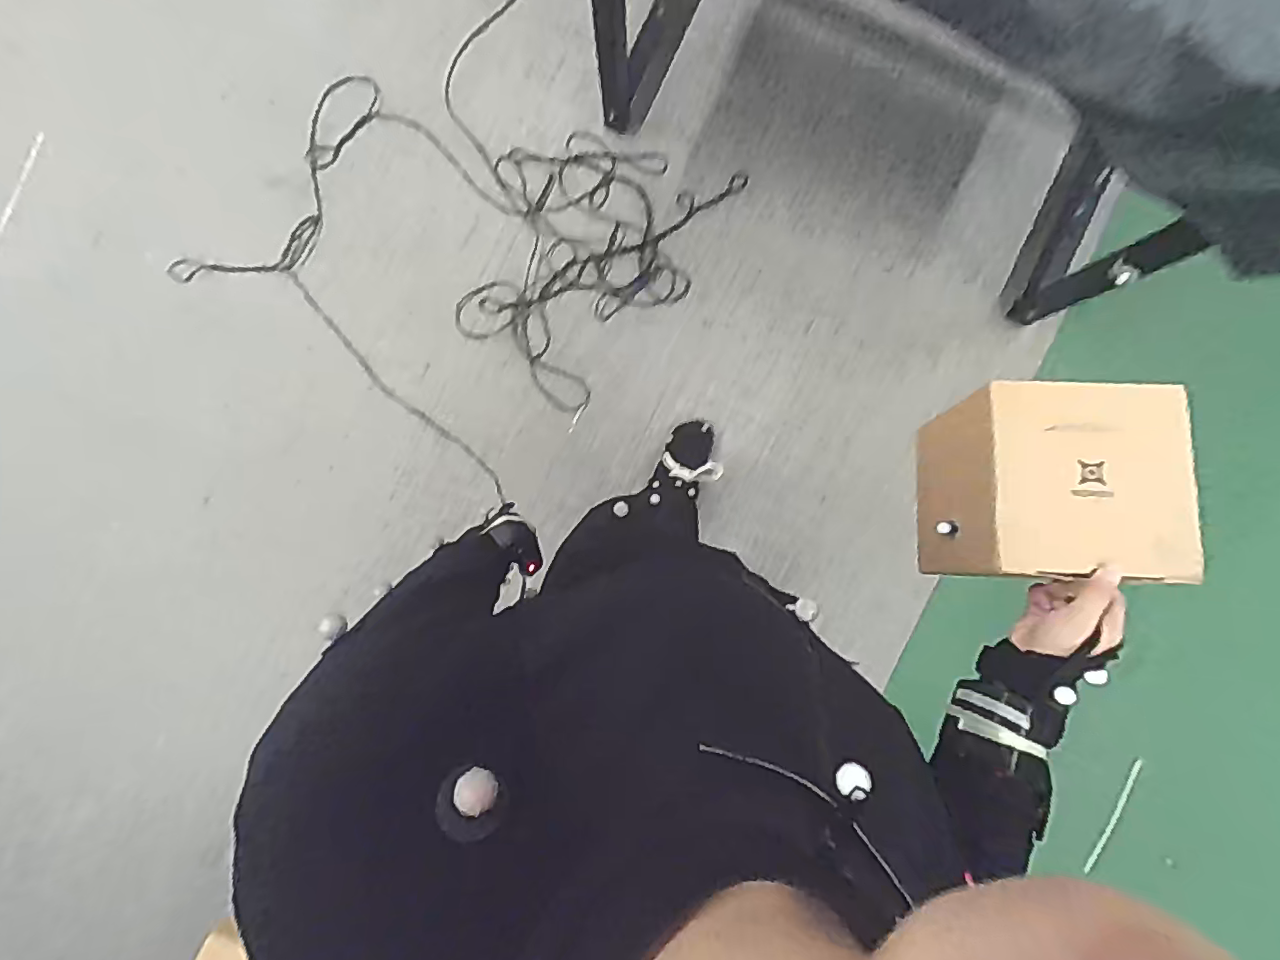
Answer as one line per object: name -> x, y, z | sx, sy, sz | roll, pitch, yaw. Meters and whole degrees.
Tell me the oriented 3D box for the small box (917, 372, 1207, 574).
small box -> 0.400, 0.003, 0.547 | 0.168, 0.176, 0.179 | 2, 80, 5
